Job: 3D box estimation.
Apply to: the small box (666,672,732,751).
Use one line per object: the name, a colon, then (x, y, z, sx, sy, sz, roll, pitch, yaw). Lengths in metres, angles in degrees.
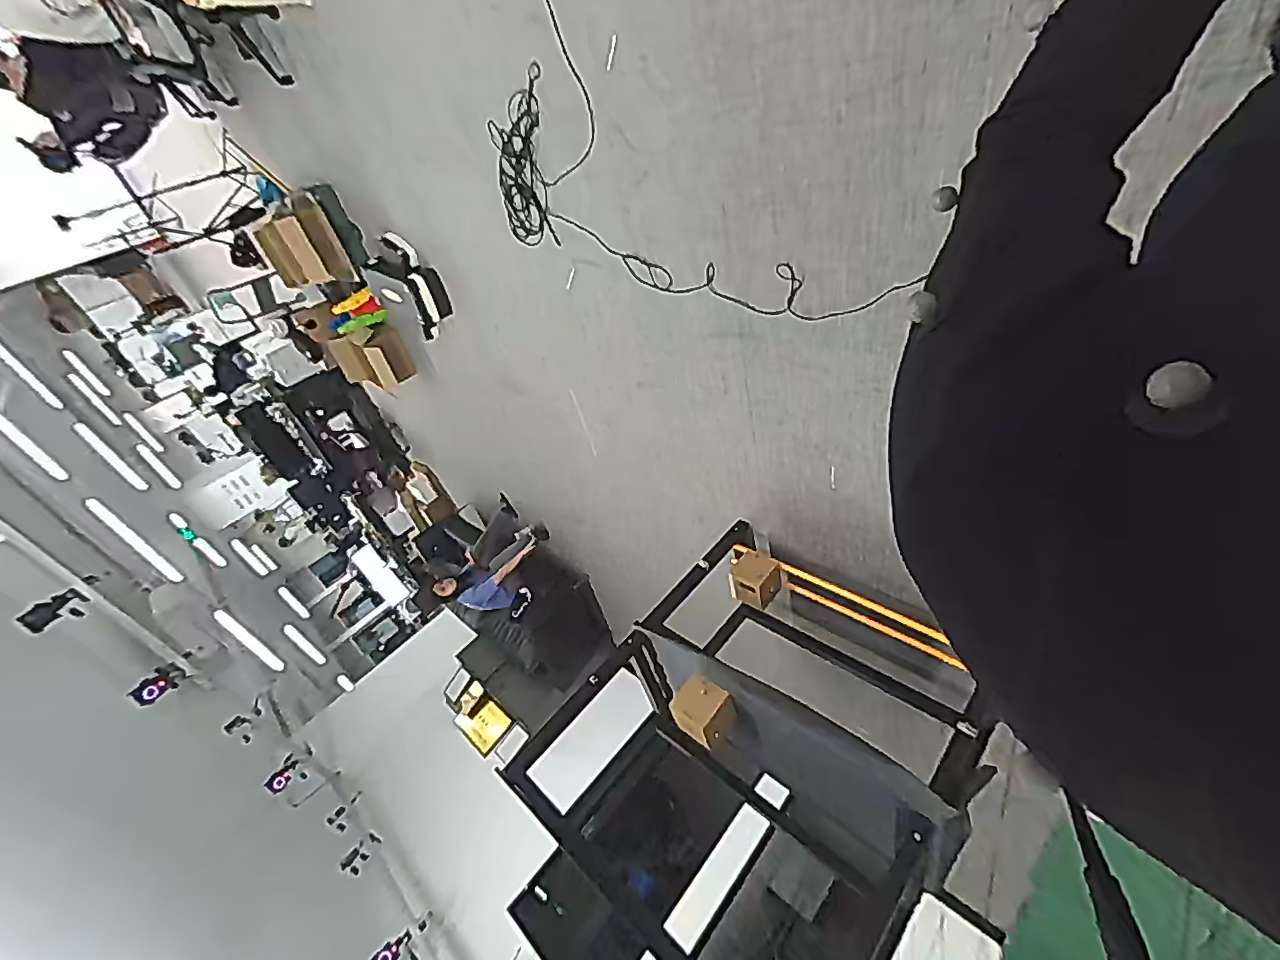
small box: (0.227, 0.862, 2.022, 0.168, 0.176, 0.179, 20, 141, 40)
